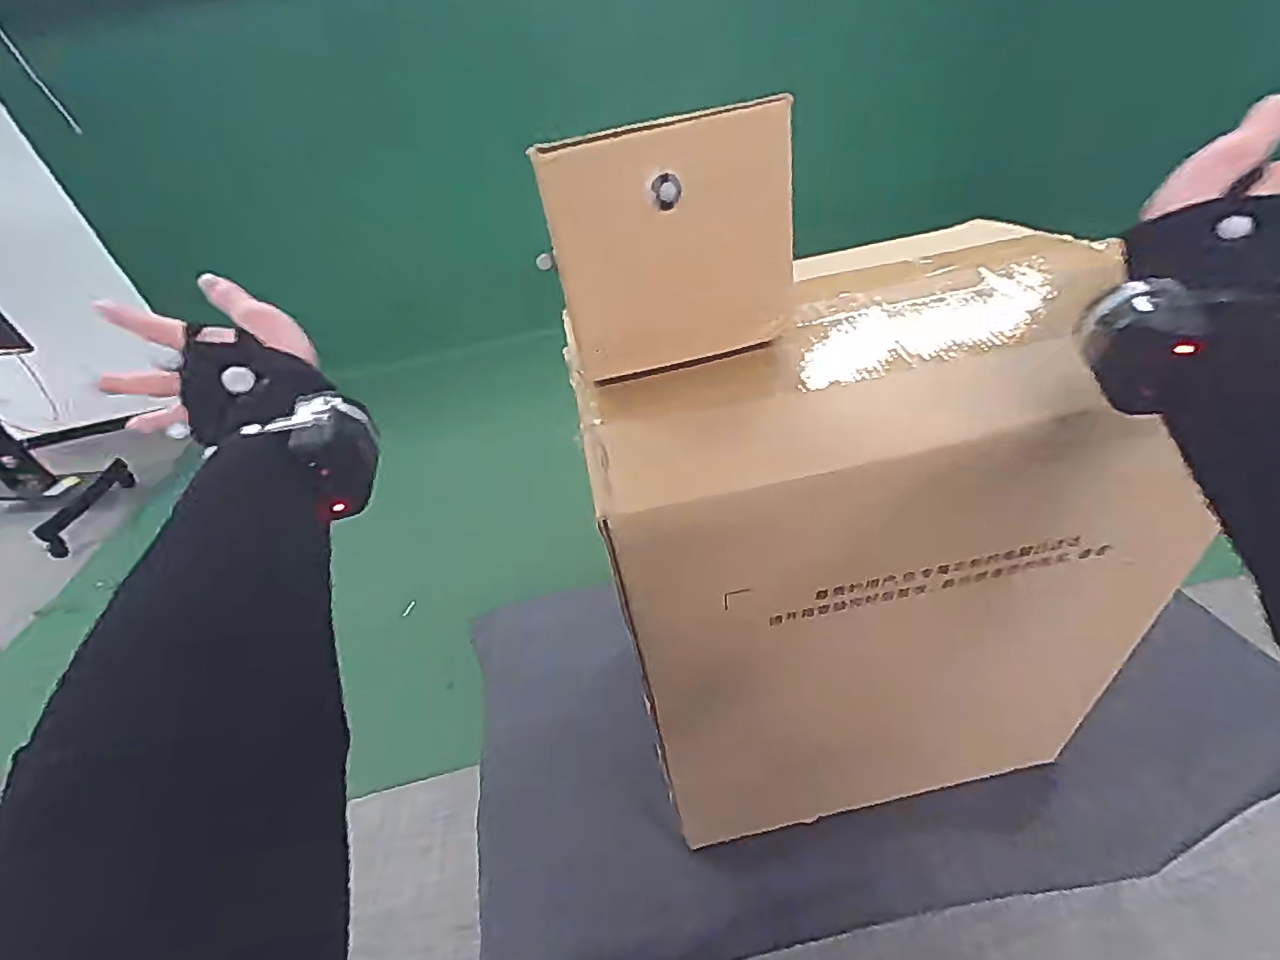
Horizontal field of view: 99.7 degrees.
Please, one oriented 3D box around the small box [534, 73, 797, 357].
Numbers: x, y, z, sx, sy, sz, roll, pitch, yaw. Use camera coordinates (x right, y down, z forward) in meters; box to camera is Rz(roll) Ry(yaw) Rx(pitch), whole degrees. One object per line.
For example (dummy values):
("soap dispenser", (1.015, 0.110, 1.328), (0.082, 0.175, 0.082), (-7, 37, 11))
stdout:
("small box", (0.018, -0.213, 0.452), (0.179, 0.176, 0.168), (-12, 32, -5))
